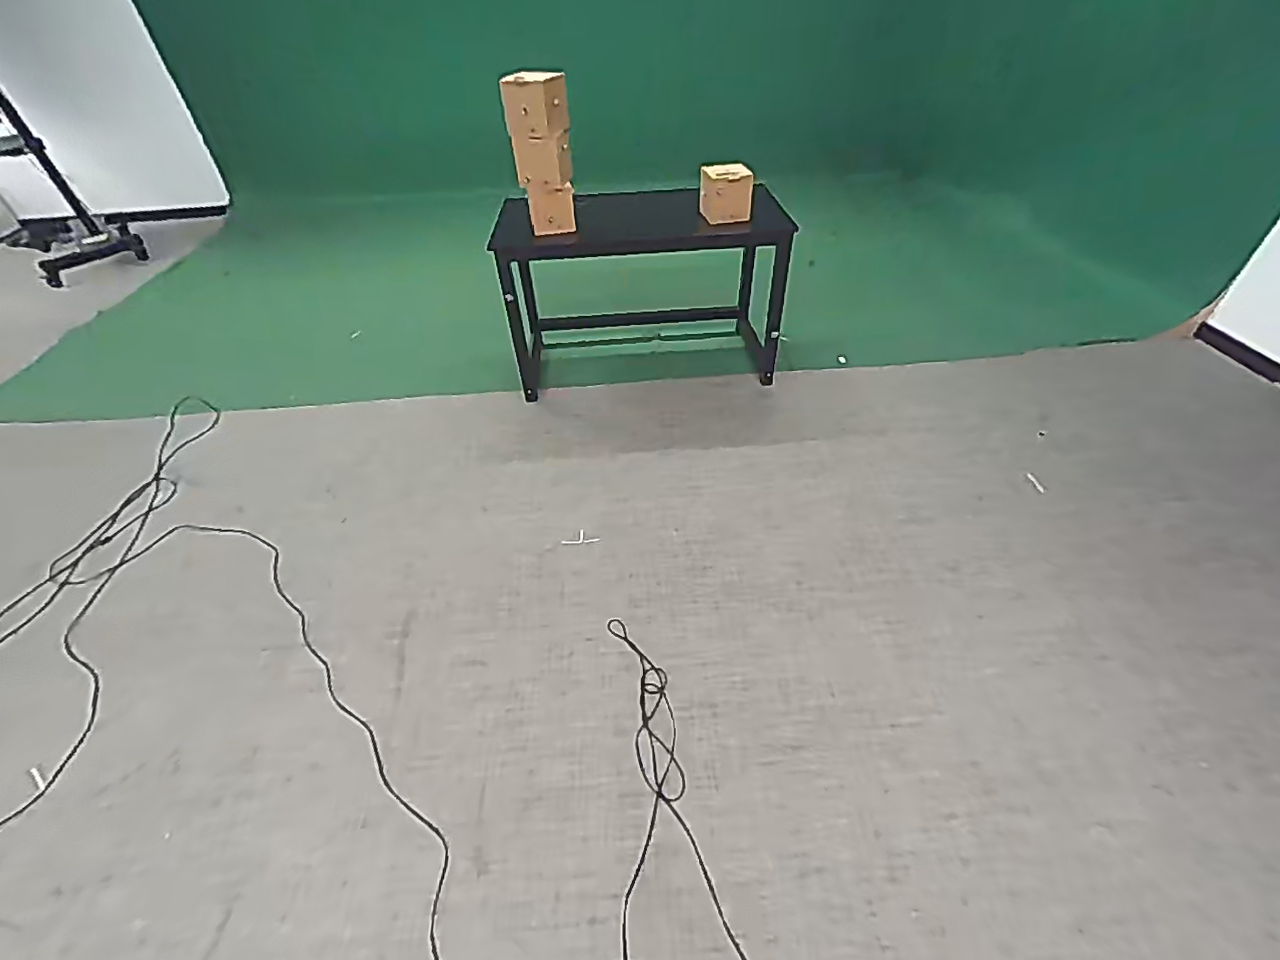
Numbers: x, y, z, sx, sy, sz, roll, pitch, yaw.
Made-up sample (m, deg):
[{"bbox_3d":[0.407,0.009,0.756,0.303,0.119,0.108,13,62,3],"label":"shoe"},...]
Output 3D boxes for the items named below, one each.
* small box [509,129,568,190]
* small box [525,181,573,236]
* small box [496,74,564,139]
[{"bbox_3d":[-0.375,-1.210,2.040,0.168,0.176,0.179,5,44,7],"label":"small box"},{"bbox_3d":[-0.366,-1.091,2.153,0.168,0.176,0.179,-10,45,-8],"label":"small box"},{"bbox_3d":[-0.384,-1.333,1.931,0.168,0.176,0.179,13,47,15],"label":"small box"}]
